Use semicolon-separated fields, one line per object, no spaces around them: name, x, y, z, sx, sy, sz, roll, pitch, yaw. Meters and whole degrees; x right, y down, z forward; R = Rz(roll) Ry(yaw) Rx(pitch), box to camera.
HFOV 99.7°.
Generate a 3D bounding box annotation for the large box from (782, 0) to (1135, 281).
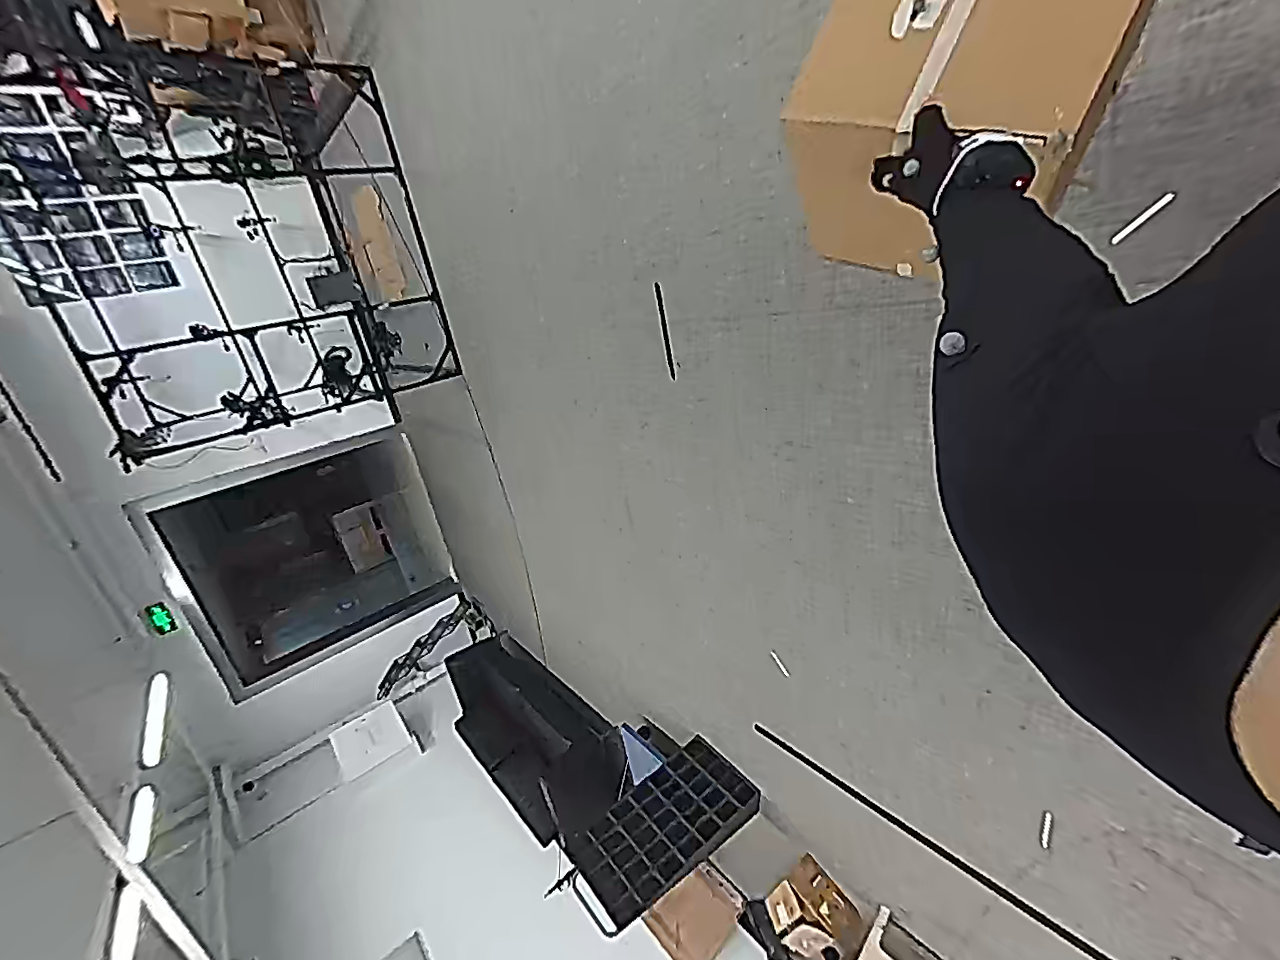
large box;0.443;-0.555;0.738;0.320;0.320;0.408;26;94;28
